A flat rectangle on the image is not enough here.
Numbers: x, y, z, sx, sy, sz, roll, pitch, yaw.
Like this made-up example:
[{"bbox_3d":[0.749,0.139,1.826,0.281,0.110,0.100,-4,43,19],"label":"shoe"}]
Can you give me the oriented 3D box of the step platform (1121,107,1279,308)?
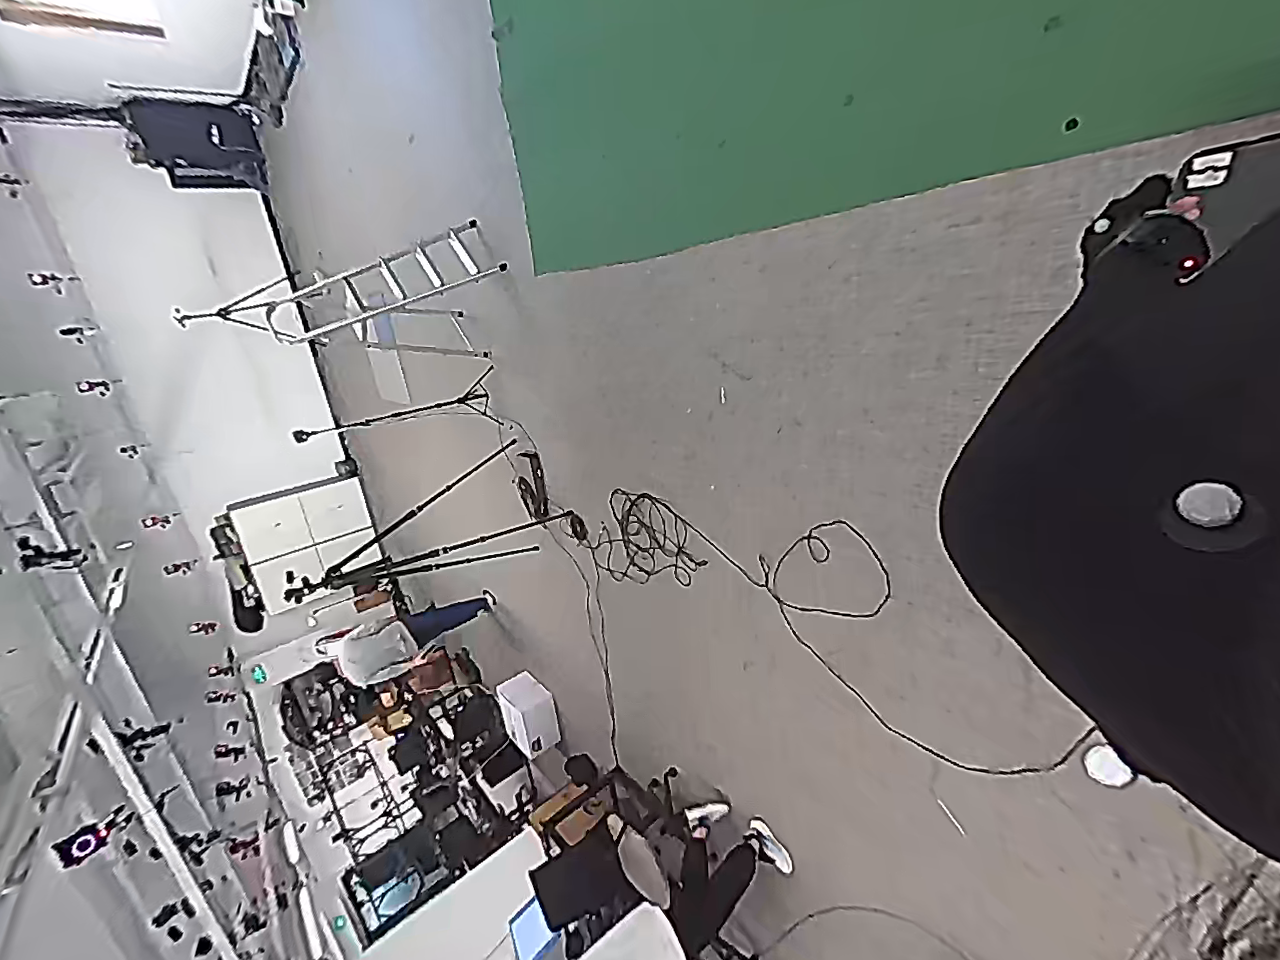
[{"bbox_3d":[1.130,-0.420,0.740,0.684,0.204,0.286,14,119,50],"label":"step platform"}]
